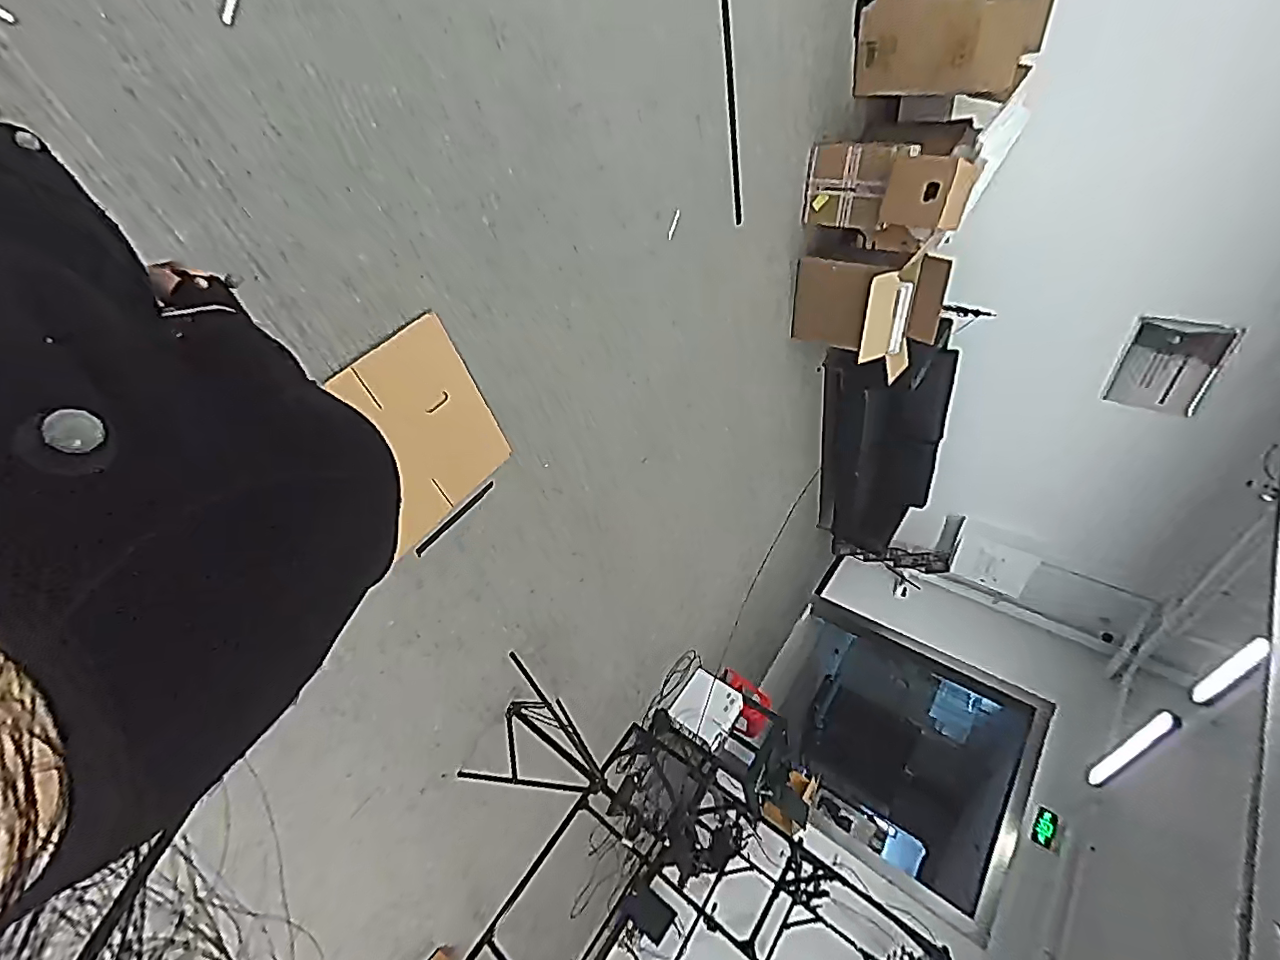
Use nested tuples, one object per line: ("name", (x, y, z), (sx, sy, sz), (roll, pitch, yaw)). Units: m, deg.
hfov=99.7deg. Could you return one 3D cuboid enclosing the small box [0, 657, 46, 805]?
("small box", (-1.042, 0.384, 0.805), (0.179, 0.176, 0.168), (11, 98, -55))
